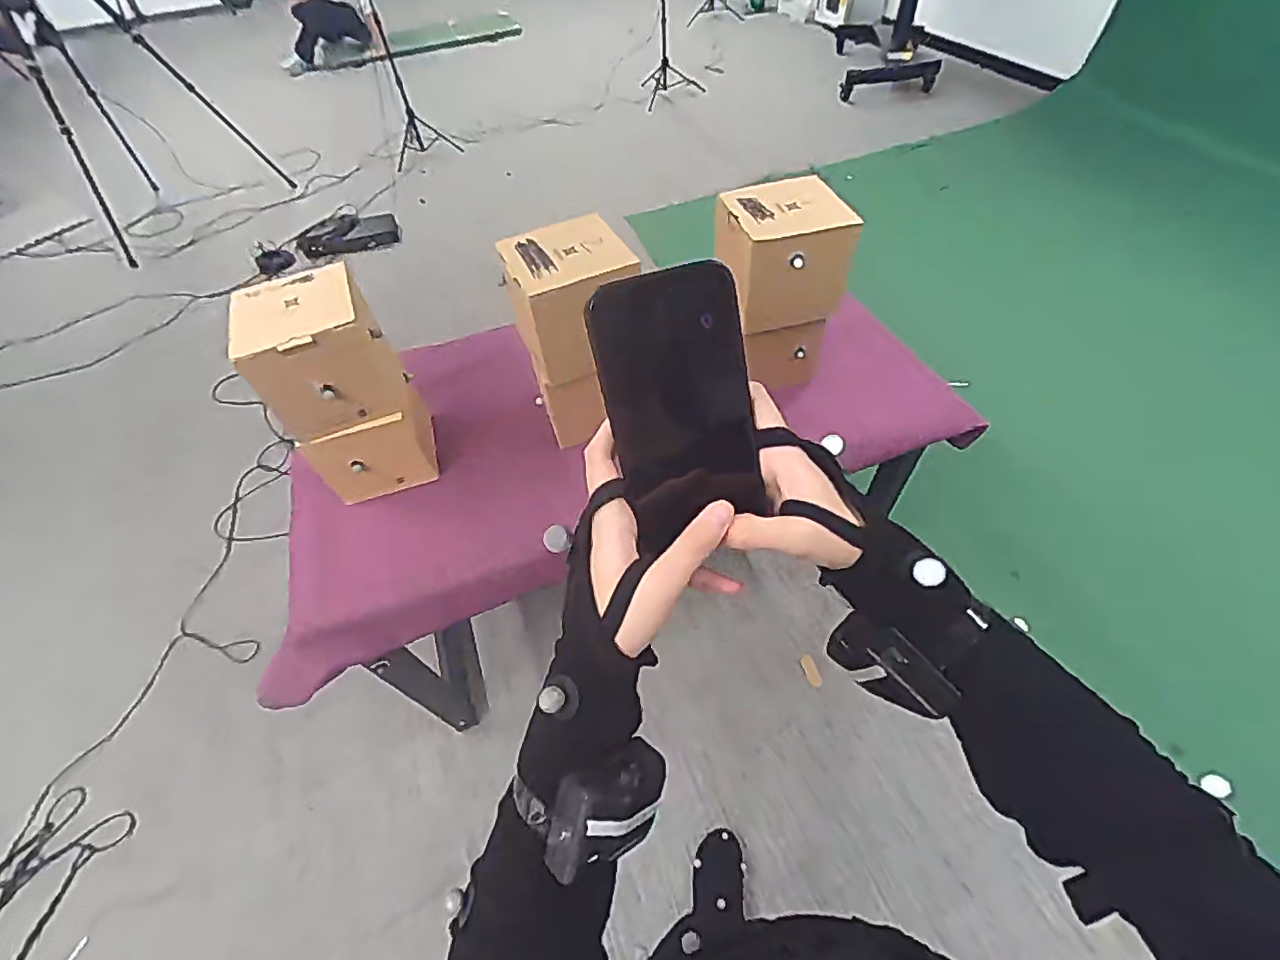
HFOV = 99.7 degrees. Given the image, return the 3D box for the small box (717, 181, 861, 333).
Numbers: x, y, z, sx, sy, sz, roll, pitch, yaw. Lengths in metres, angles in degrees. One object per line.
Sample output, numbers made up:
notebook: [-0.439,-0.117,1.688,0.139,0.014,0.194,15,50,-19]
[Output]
small box: [0.235,-0.368,0.906,0.179,0.176,0.168,-13,52,-5]

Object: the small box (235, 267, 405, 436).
small box: [-0.481,-0.189,0.830,0.168,0.176,0.179,-21,55,-12]

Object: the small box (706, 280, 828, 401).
small box: [0.233,-0.278,1.043,0.179,0.176,0.168,-13,52,-4]

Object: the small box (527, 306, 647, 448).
small box: [-0.092,-0.187,1.000,0.179,0.176,0.168,-18,53,-8]

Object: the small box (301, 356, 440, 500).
small box: [-0.467,-0.083,0.956,0.168,0.176,0.179,-17,53,-8]
